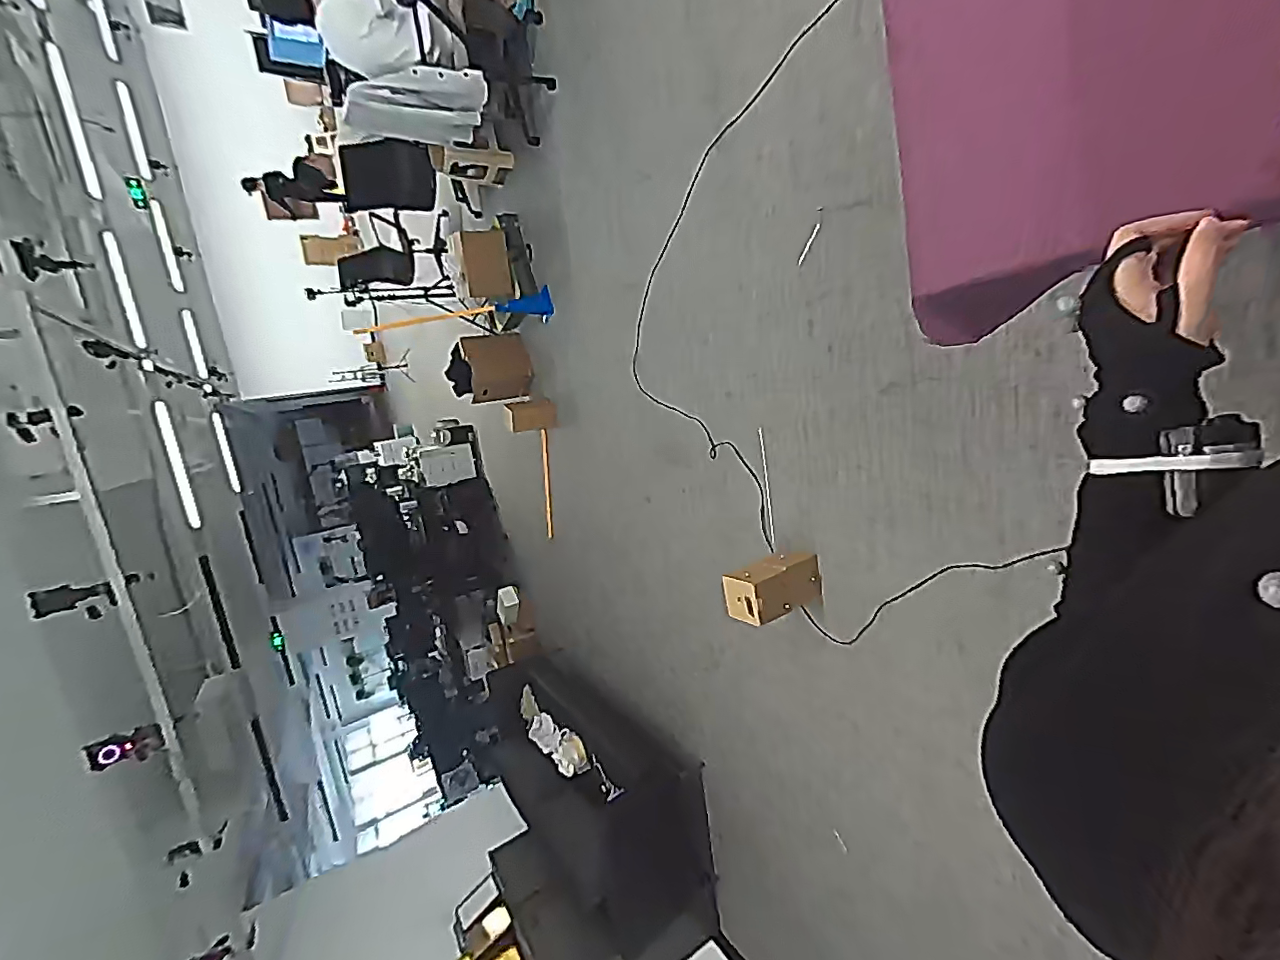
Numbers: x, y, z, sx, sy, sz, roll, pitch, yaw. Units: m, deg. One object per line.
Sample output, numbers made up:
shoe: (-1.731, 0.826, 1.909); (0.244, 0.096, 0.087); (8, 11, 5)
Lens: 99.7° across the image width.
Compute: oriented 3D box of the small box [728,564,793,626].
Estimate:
small box: (0.463, 0.428, 2.047); (0.179, 0.176, 0.168); (3, 104, 61)
